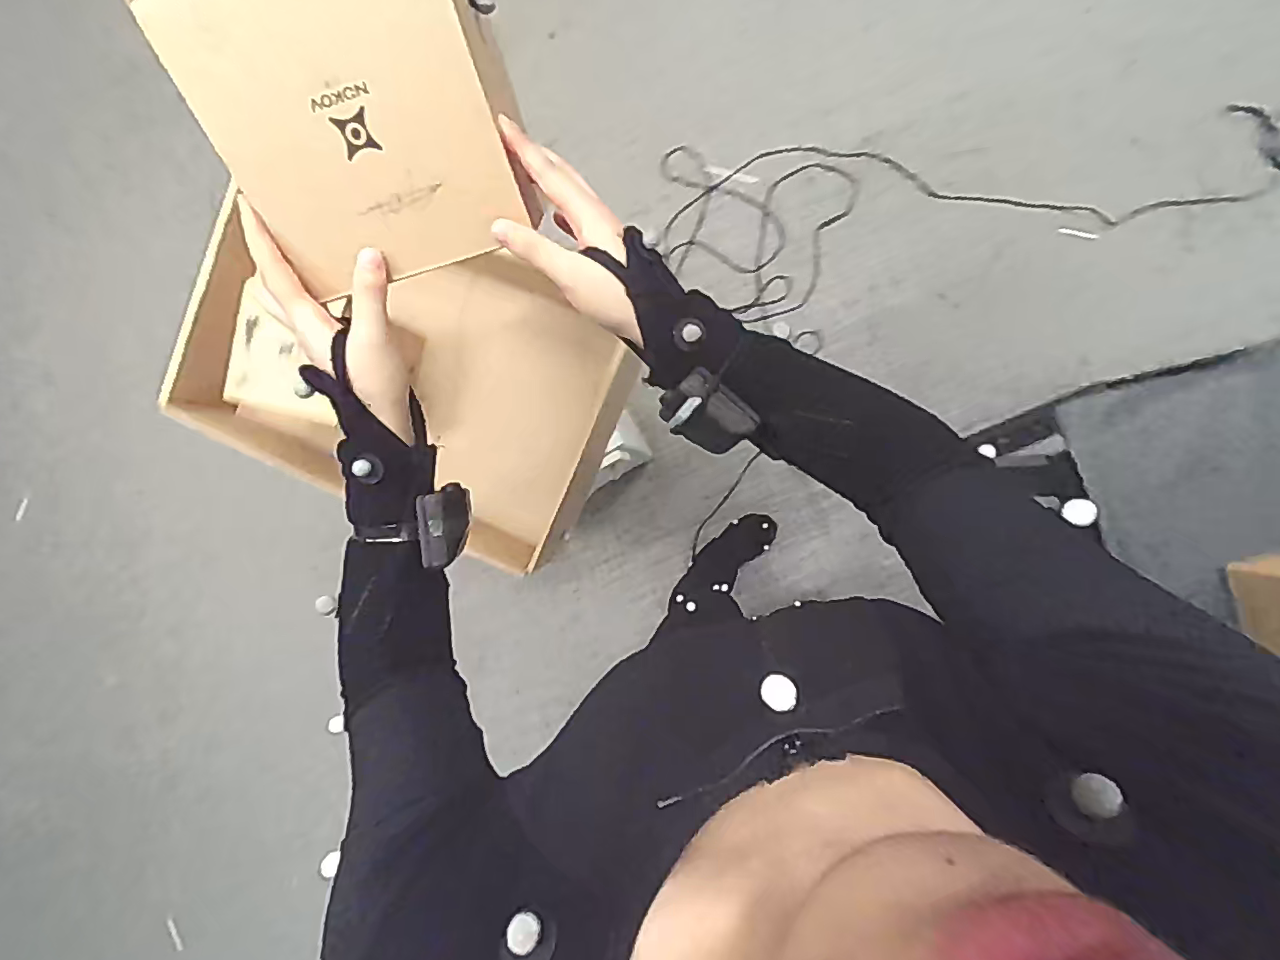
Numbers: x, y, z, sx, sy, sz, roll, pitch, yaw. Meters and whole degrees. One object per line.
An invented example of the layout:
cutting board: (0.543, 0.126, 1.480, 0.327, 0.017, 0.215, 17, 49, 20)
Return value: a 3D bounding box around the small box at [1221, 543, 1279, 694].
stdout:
small box: (0.799, 0.159, 0.574, 0.168, 0.176, 0.179, -15, 88, 5)
